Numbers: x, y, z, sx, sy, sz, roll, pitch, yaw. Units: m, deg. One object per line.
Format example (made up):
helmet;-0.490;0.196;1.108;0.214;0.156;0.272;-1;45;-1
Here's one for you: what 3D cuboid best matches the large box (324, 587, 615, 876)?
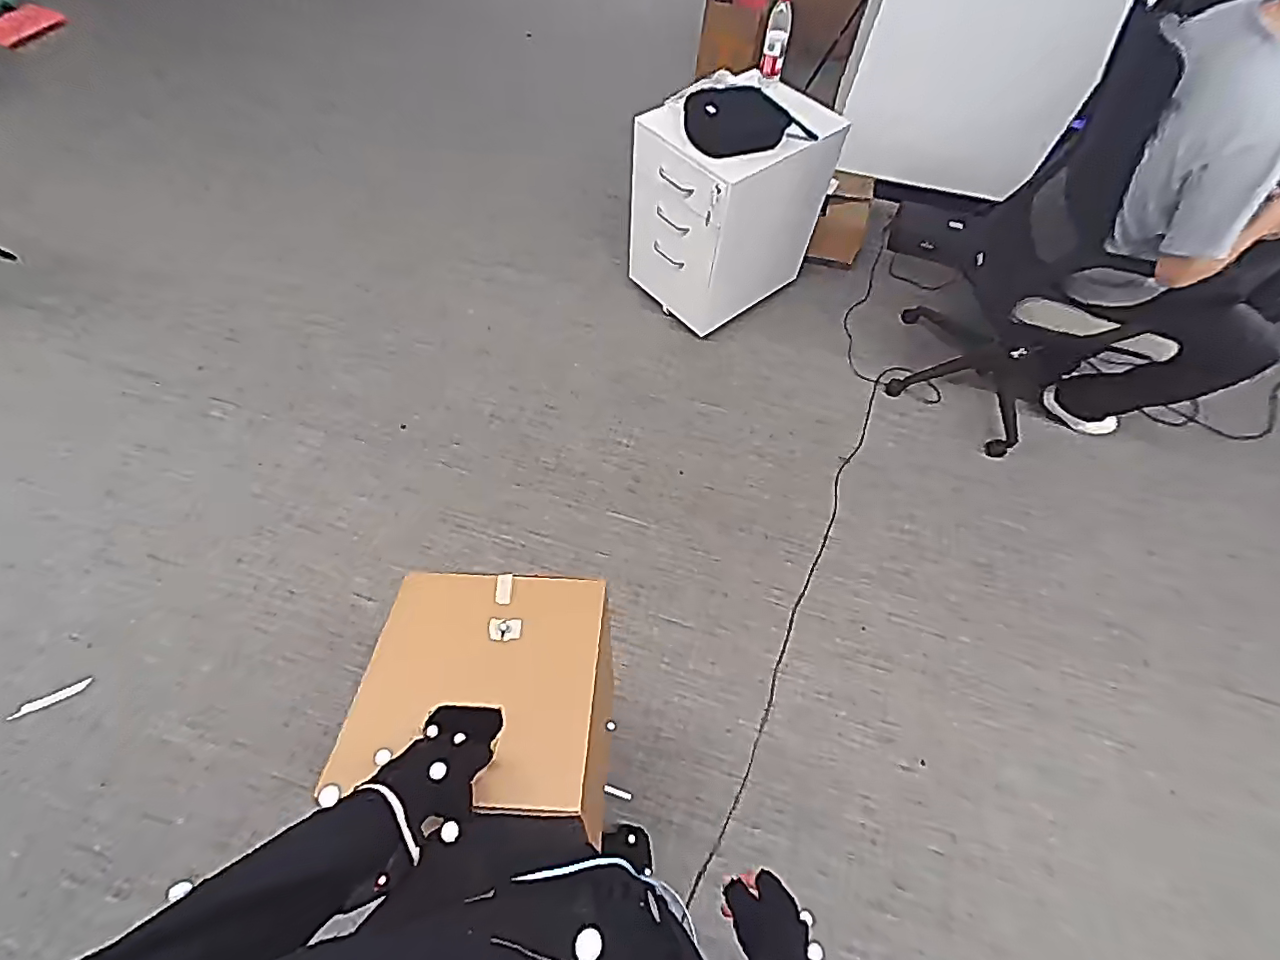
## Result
large box;-0.209;0.407;0.862;0.320;0.408;0.320;2;47;2
